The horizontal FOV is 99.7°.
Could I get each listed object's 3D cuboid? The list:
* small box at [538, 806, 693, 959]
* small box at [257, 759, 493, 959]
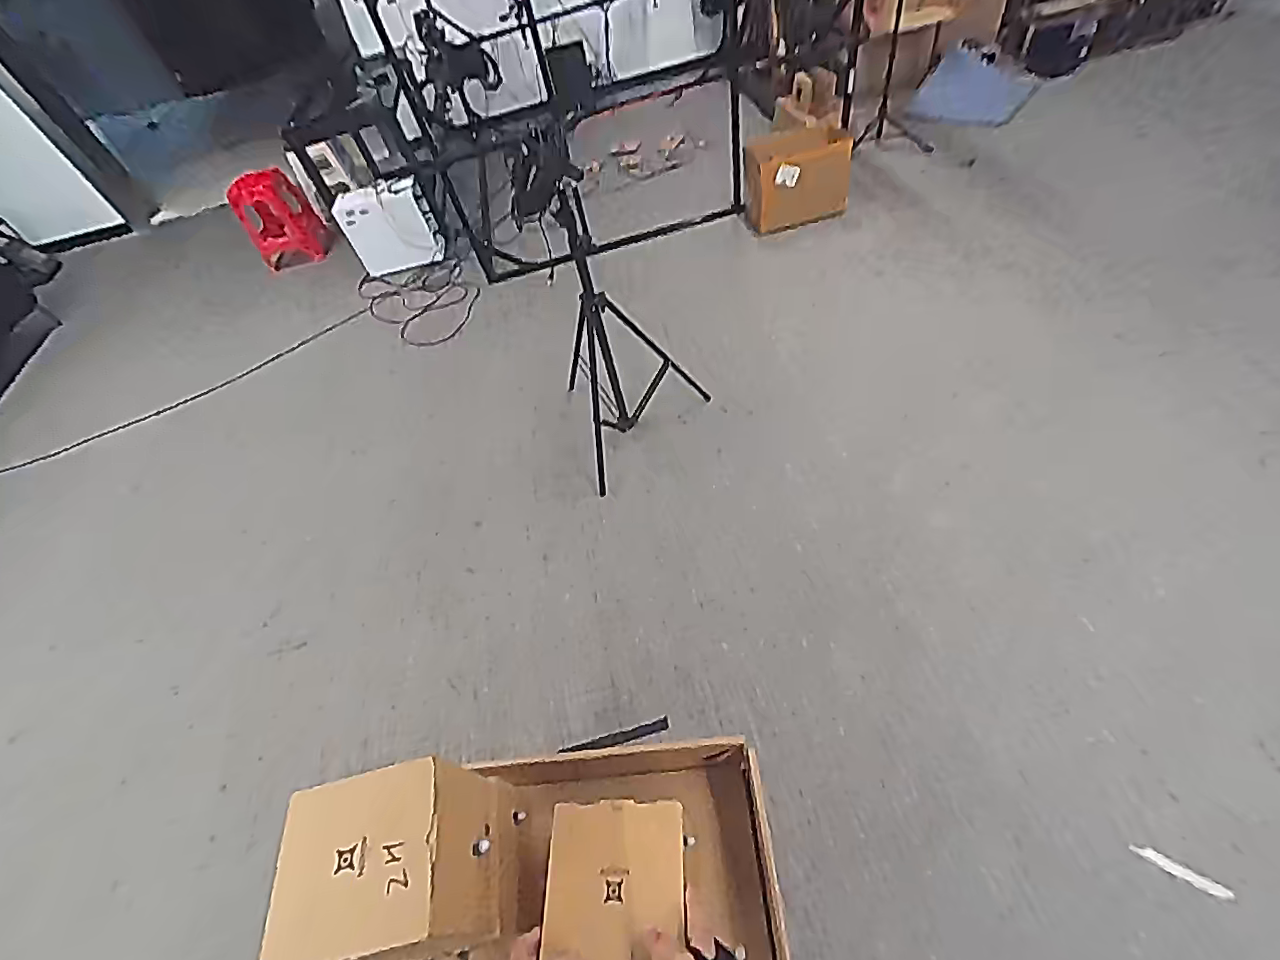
[{"bbox_3d":[-0.021,0.532,0.687,0.168,0.176,0.179,-4,47,5],"label":"small box"},{"bbox_3d":[-0.286,0.448,0.625,0.179,0.176,0.168,-14,51,0],"label":"small box"}]
